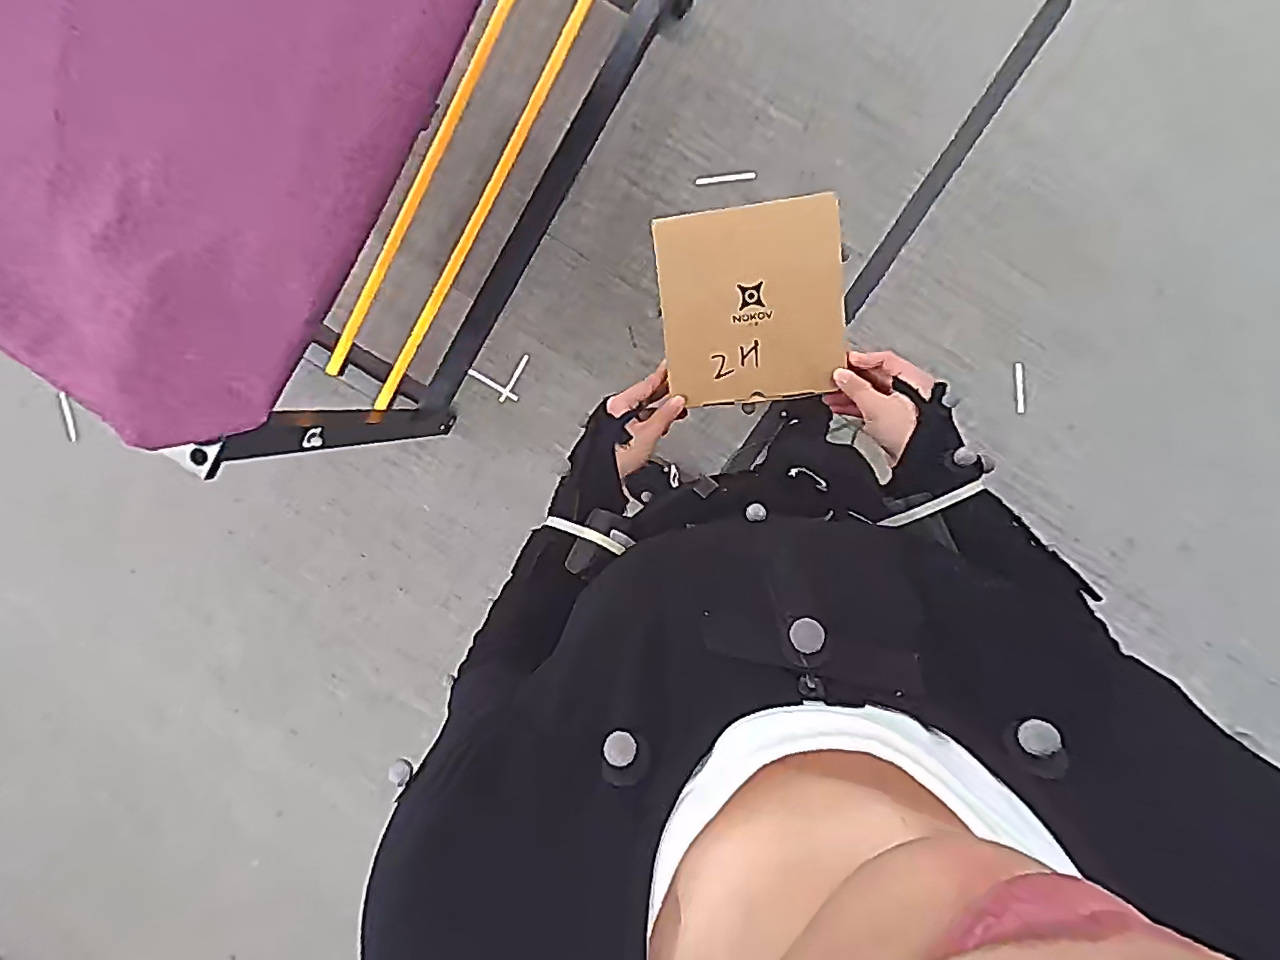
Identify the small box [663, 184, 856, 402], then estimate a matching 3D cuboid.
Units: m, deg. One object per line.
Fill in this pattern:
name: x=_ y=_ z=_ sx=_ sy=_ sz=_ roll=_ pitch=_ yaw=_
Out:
small box: x=0.114 y=-0.175 z=0.560 sx=0.168 sy=0.176 sz=0.179 roll=-5 pitch=99 yaw=7
